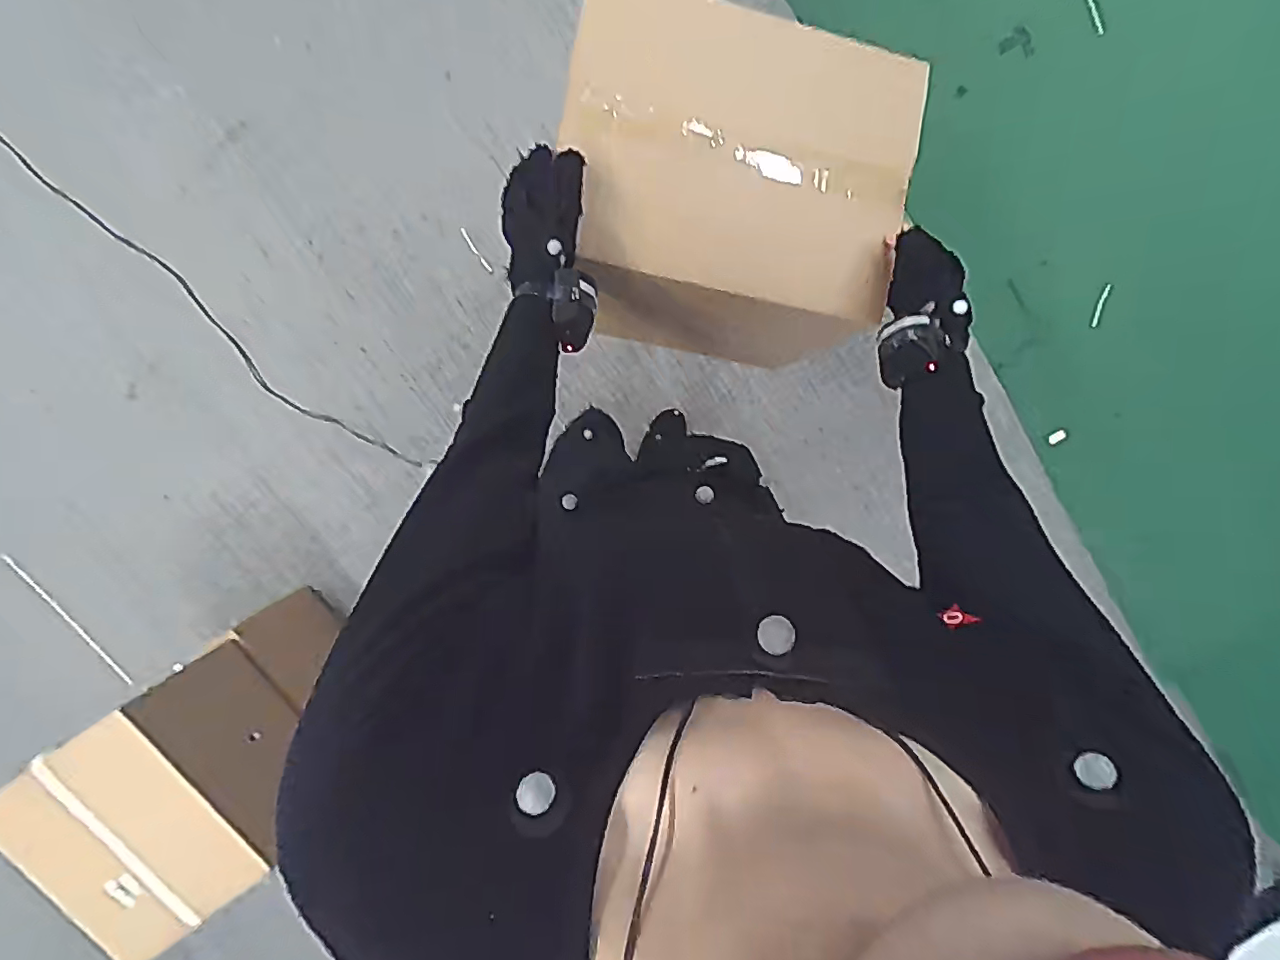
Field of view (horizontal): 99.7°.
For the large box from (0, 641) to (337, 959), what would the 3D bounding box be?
[{"bbox_3d":[-0.921,0.615,1.088,0.320,0.320,0.408,-35,100,-2],"label":"large box"}]
